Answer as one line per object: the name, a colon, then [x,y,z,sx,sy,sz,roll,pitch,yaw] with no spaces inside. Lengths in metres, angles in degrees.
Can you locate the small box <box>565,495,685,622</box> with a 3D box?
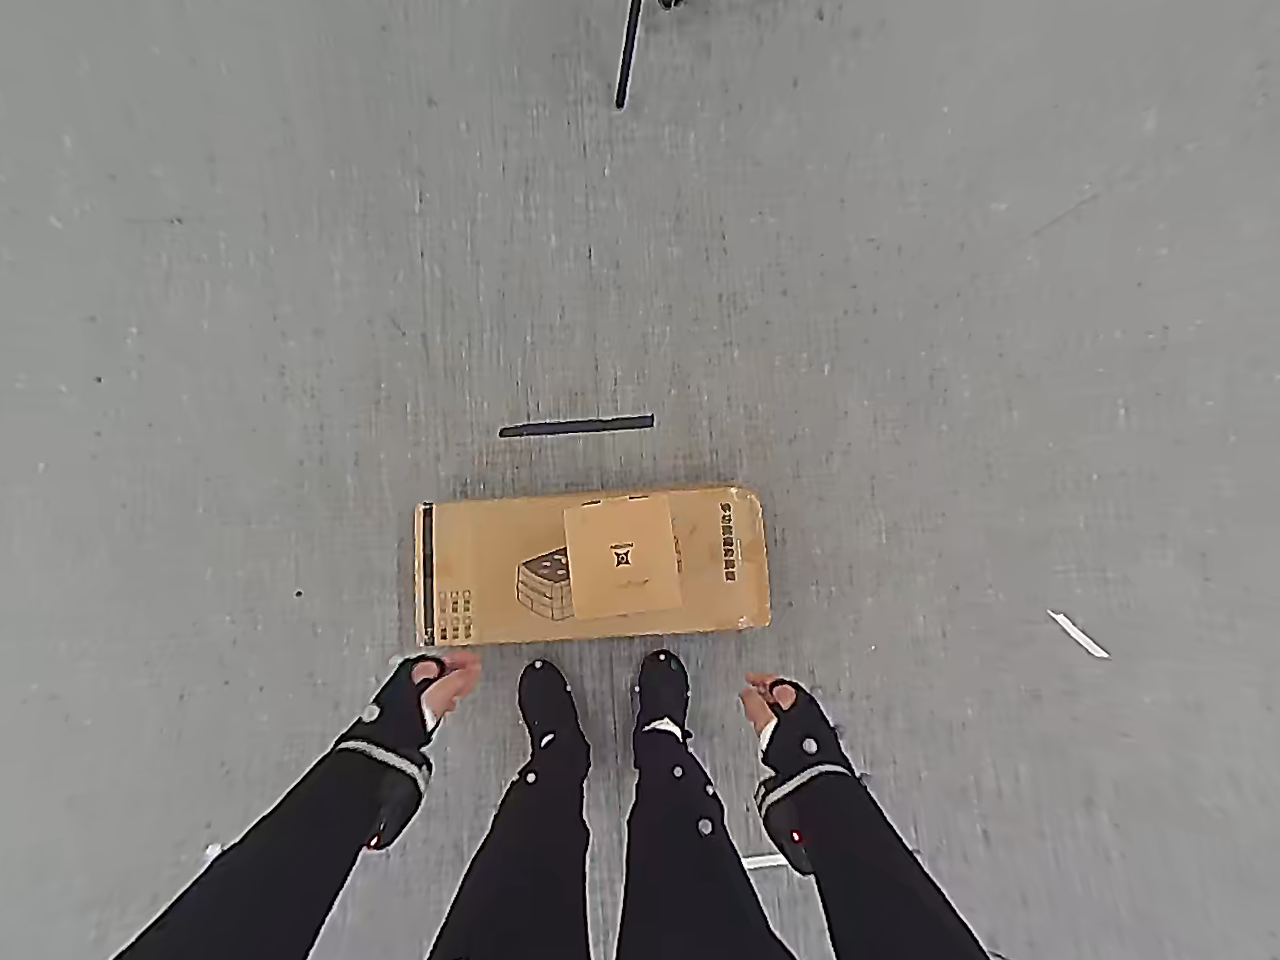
small box: [-0.026,0.127,0.896,0.168,0.176,0.179,-8,84,-2]
